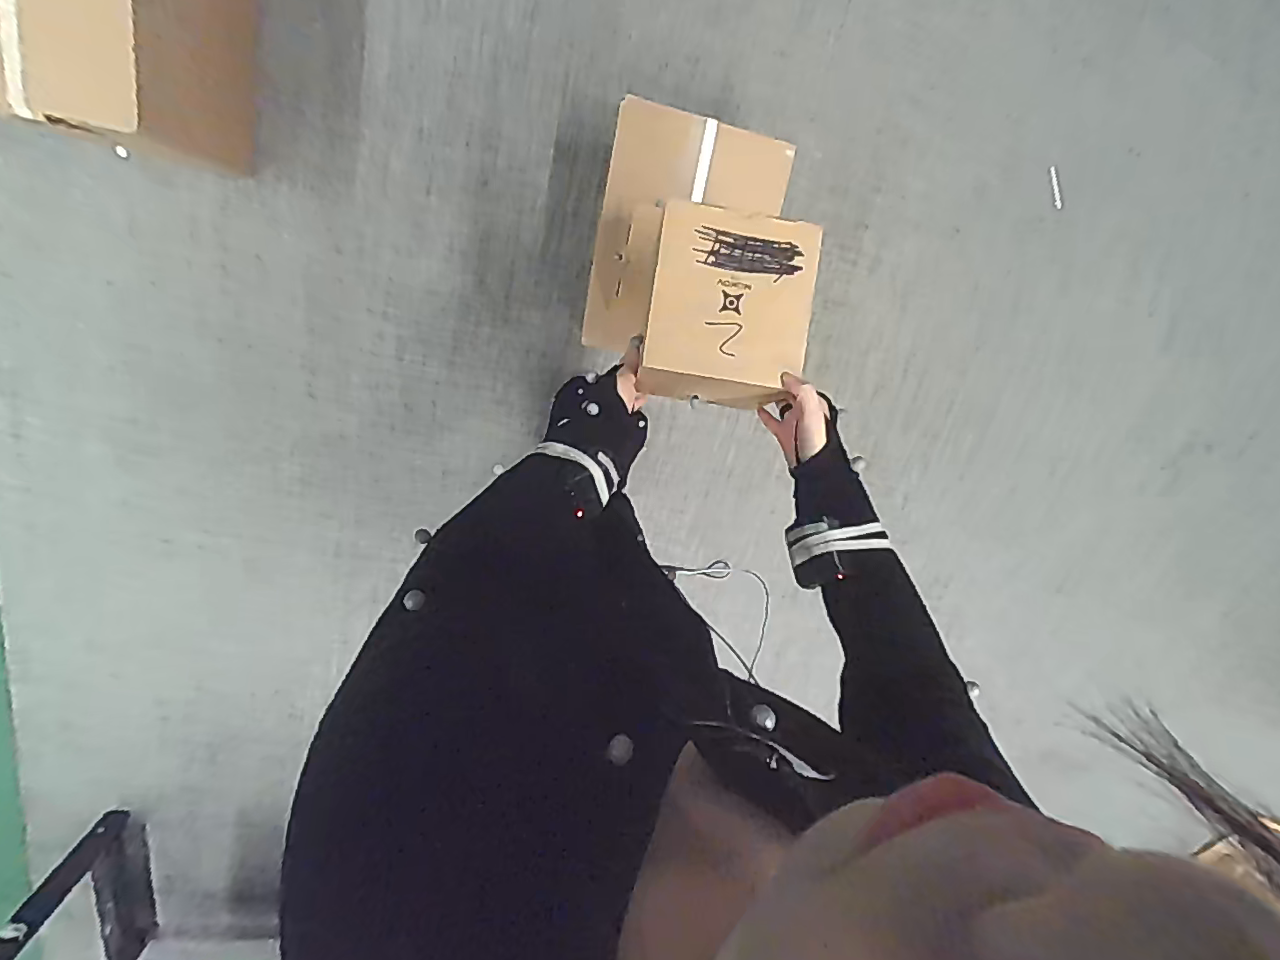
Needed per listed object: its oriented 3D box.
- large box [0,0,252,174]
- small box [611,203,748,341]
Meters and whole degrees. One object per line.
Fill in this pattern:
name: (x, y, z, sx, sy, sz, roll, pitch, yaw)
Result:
large box: (-0.885, -0.783, 0.883, 0.320, 0.320, 0.408, 10, 106, -9)
small box: (0.054, -0.334, 0.886, 0.179, 0.176, 0.168, 10, 107, -7)
